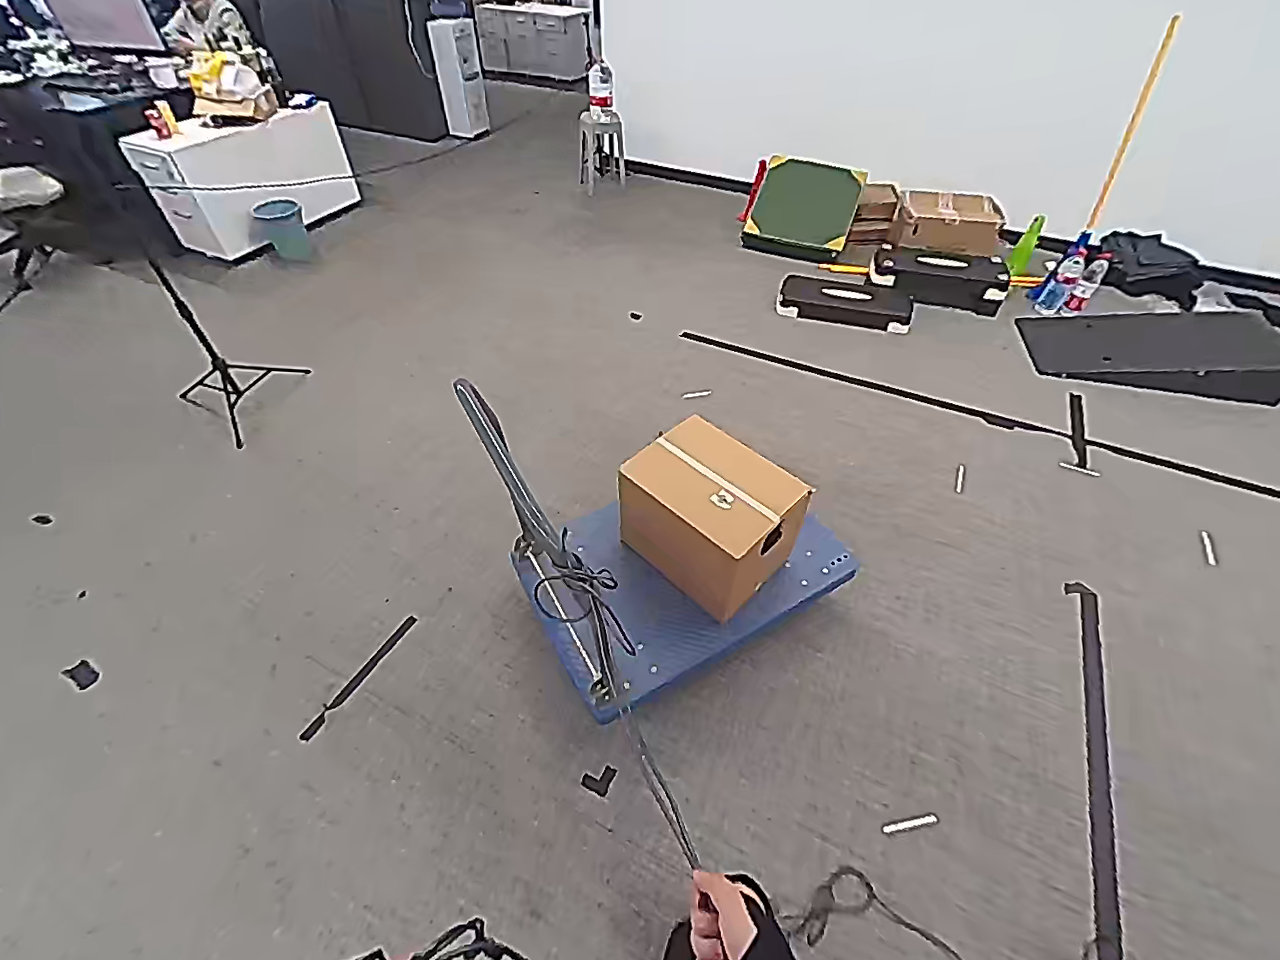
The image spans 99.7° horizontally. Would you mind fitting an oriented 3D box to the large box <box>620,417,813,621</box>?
[{"bbox_3d":[0.187,0.100,1.492,0.320,0.320,0.408,-37,59,-28],"label":"large box"}]
